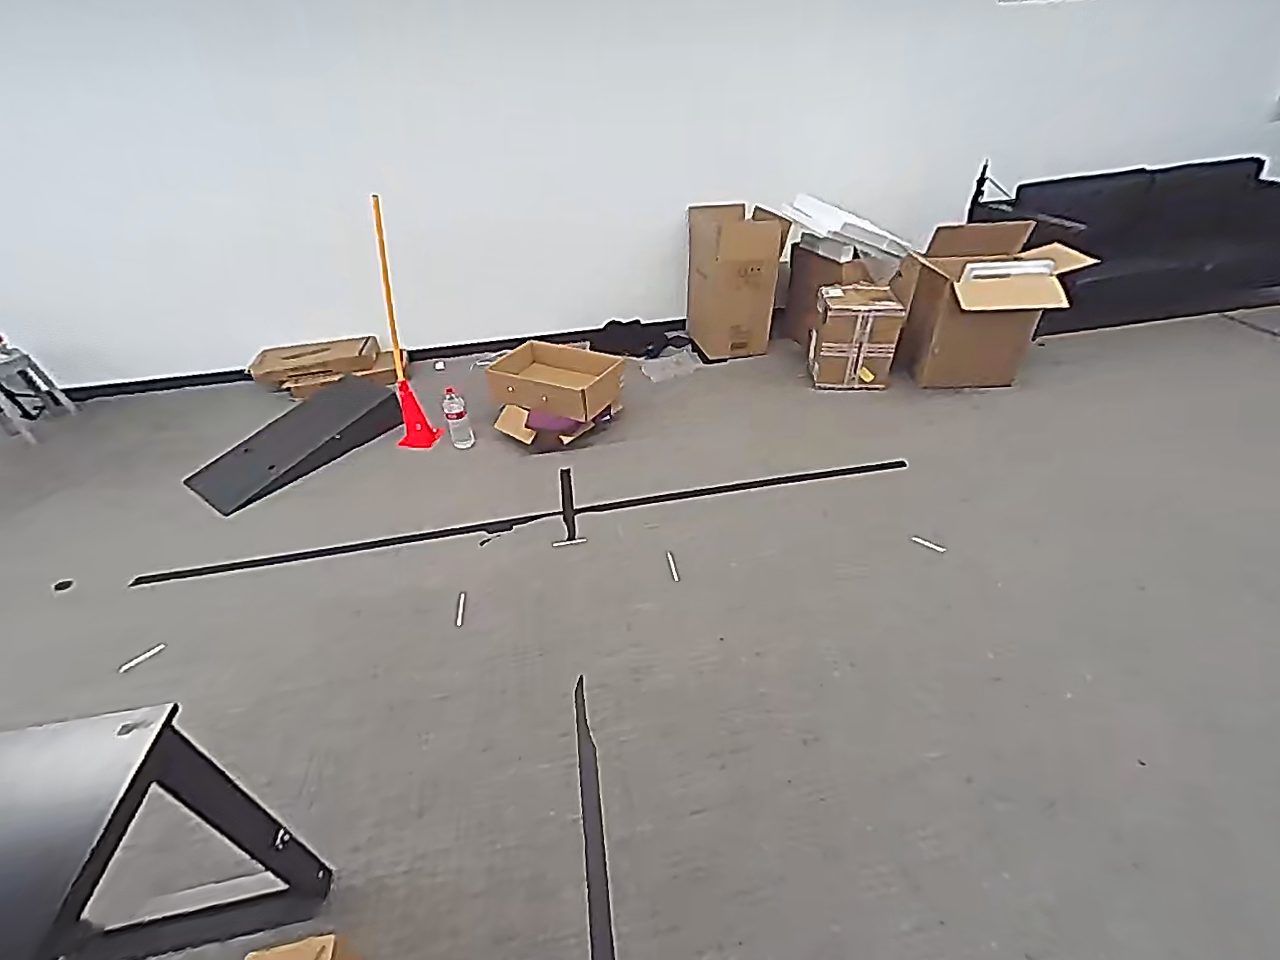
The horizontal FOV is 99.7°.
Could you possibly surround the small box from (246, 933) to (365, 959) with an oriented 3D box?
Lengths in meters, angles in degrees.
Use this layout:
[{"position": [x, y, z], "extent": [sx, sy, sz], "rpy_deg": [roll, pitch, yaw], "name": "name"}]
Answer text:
[{"position": [-0.682, 1.047, 1.076], "extent": [0.179, 0.176, 0.168], "rpy_deg": [-9, 38, -6], "name": "small box"}]
